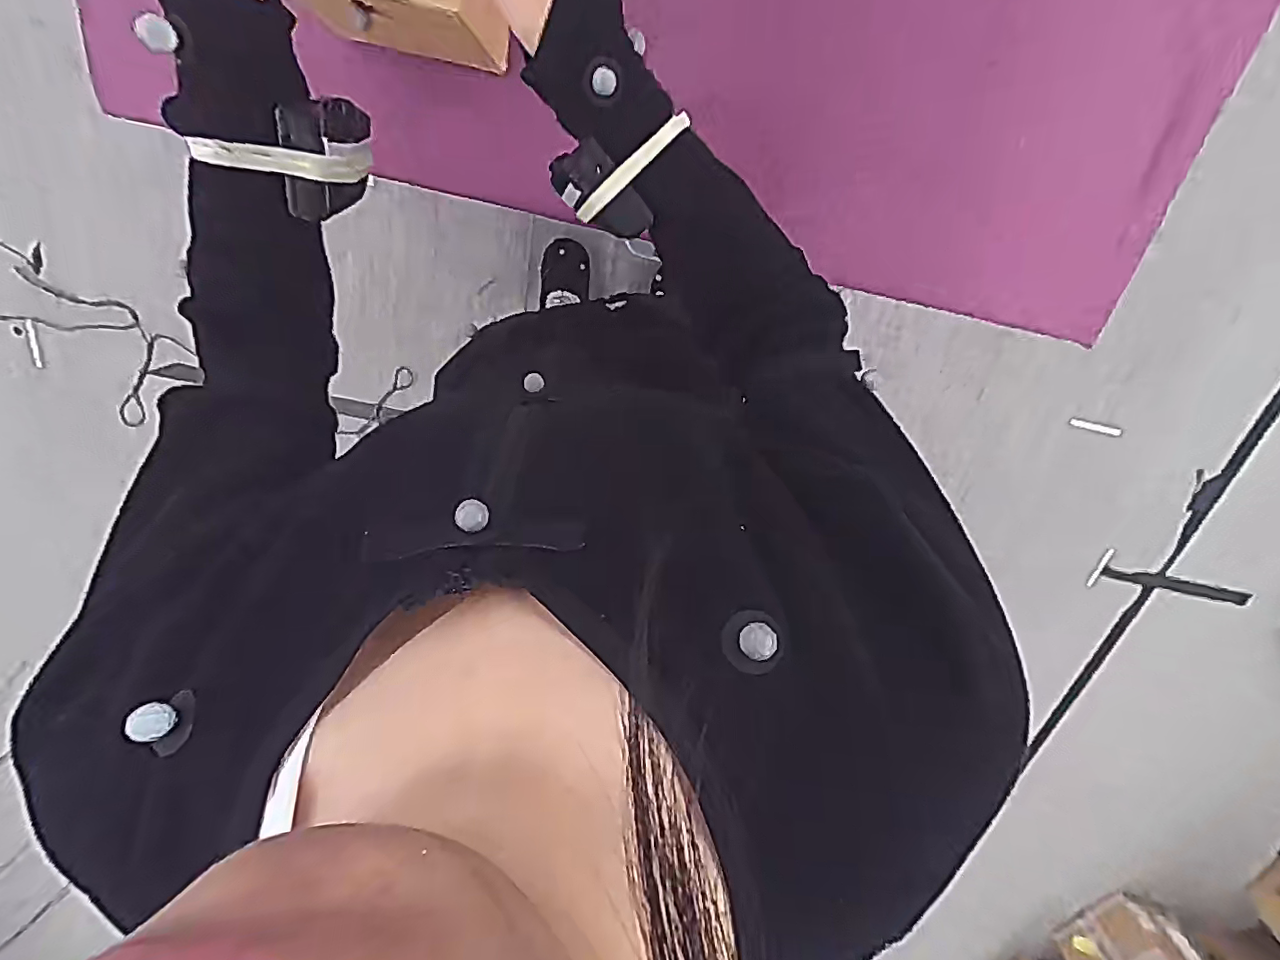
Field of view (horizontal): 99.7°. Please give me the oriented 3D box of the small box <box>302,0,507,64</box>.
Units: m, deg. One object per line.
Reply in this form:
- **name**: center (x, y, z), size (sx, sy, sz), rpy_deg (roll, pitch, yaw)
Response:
- **small box**: center (-0.211, -0.495, 0.470), size (0.179, 0.176, 0.168), rpy_deg (11, 113, -4)
